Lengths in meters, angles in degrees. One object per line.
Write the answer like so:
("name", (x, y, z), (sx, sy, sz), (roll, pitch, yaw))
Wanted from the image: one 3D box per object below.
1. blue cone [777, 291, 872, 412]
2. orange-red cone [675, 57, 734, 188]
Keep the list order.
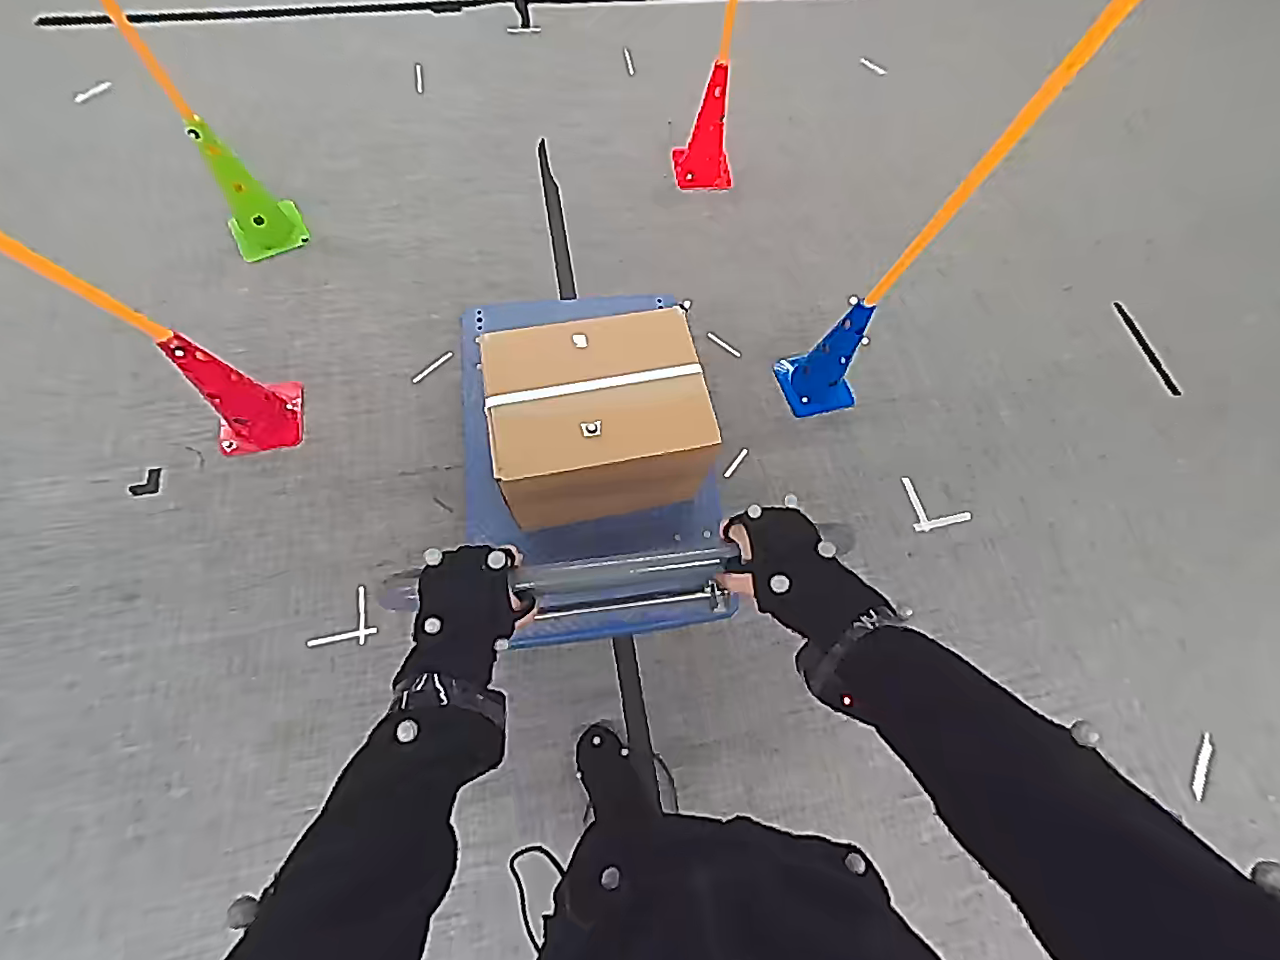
("blue cone", (0.533, -0.358, 1.465), (0.193, 0.380, 0.192), (-12, 68, -9))
("orange-red cone", (0.241, -1.171, 1.756), (0.199, 0.360, 0.198), (-2, 69, -6))
